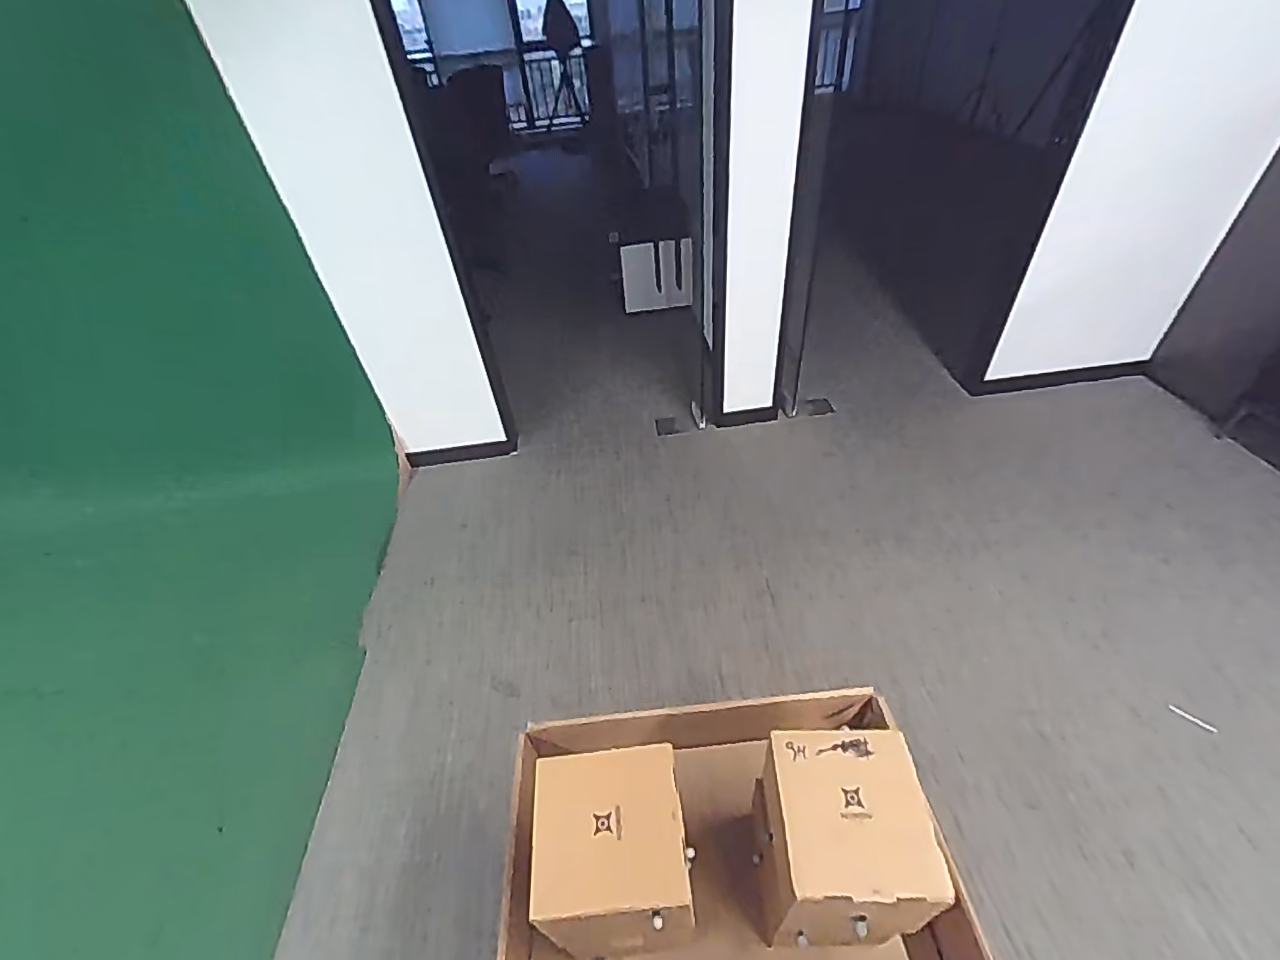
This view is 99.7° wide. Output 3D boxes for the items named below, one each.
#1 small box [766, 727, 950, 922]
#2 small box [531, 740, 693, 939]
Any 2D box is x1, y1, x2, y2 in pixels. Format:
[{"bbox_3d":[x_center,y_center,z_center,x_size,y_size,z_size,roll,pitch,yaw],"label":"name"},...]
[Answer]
[{"bbox_3d":[0.252,0.430,0.675,0.168,0.176,0.179,-2,43,6],"label":"small box"},{"bbox_3d":[-0.030,0.458,0.687,0.179,0.176,0.168,-6,42,-1],"label":"small box"}]
